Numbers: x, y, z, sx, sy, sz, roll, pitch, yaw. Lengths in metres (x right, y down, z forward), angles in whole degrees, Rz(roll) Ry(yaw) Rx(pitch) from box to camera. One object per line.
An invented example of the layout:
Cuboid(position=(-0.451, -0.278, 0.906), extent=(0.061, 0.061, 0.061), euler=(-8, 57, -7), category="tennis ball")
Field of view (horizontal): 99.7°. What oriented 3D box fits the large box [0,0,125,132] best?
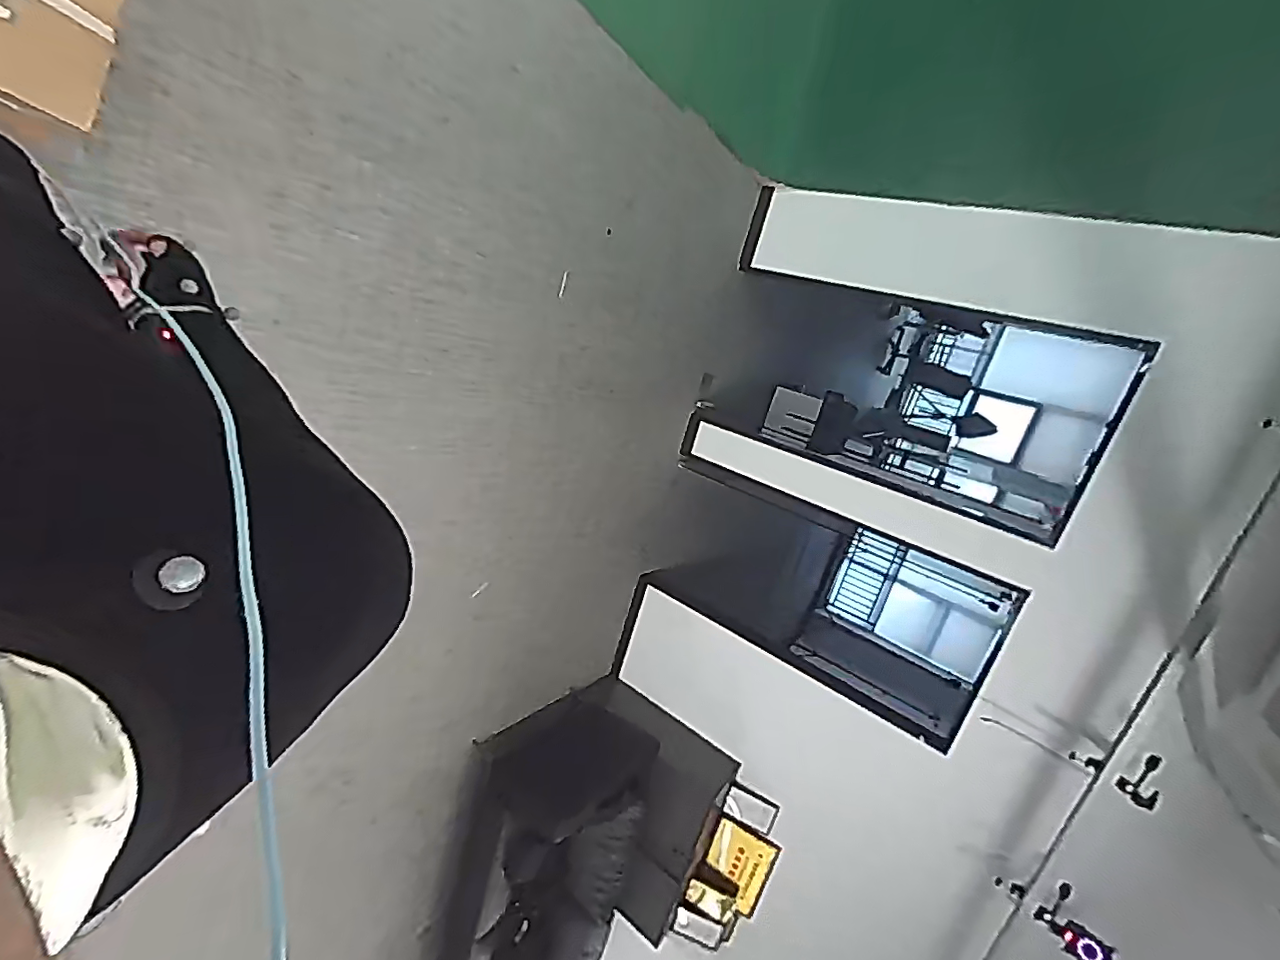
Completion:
Cuboid(position=(-1.061, -0.778, 0.770), extent=(0.408, 0.320, 0.320), euler=(13, 96, -60), category="large box")
